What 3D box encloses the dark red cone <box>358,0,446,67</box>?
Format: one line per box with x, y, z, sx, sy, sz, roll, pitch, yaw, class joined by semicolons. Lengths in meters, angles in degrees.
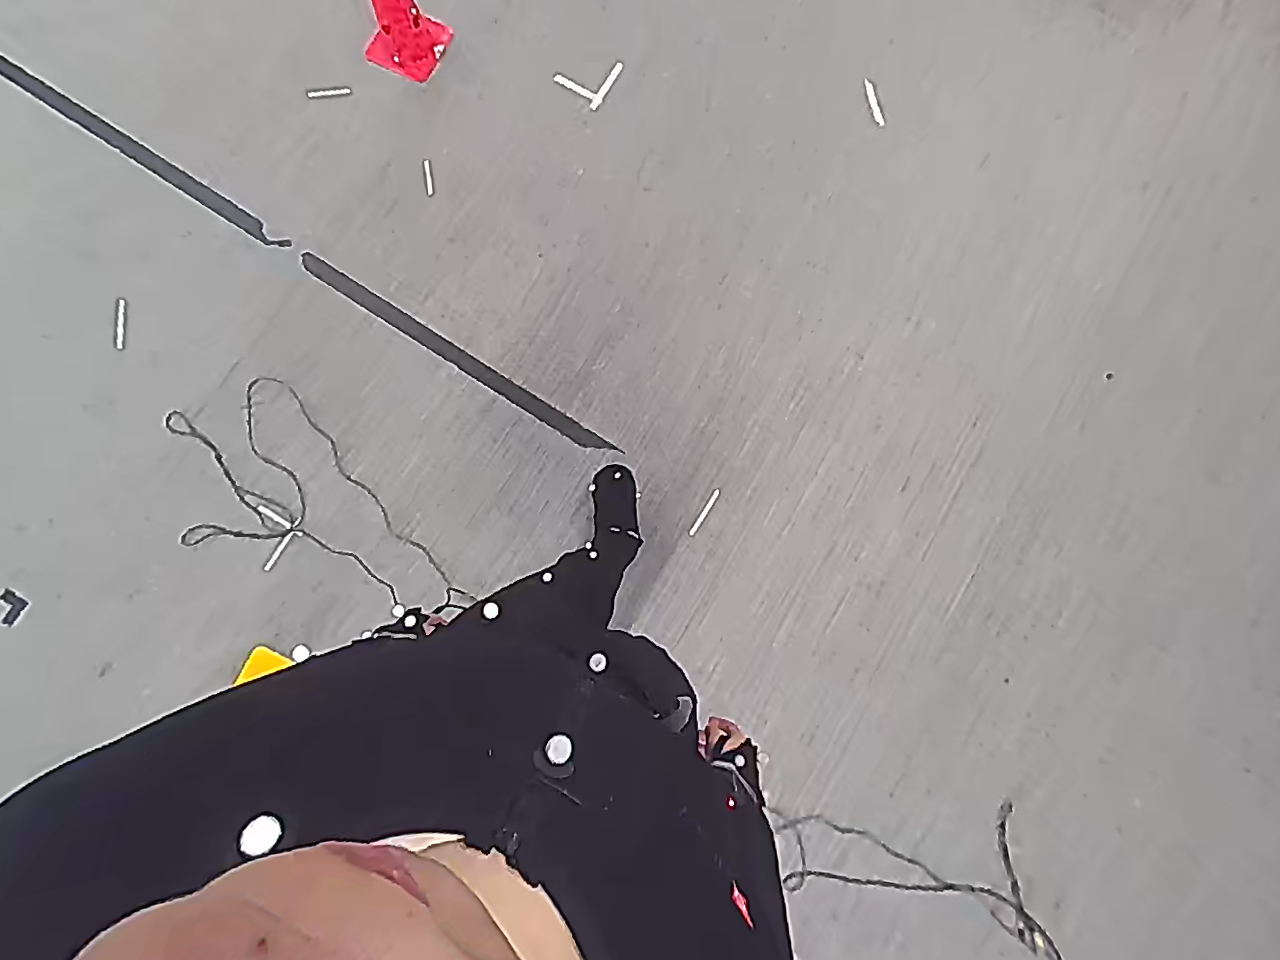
-0.668;-1.300;1.373;0.202;0.394;0.201;24;83;2;dark red cone
